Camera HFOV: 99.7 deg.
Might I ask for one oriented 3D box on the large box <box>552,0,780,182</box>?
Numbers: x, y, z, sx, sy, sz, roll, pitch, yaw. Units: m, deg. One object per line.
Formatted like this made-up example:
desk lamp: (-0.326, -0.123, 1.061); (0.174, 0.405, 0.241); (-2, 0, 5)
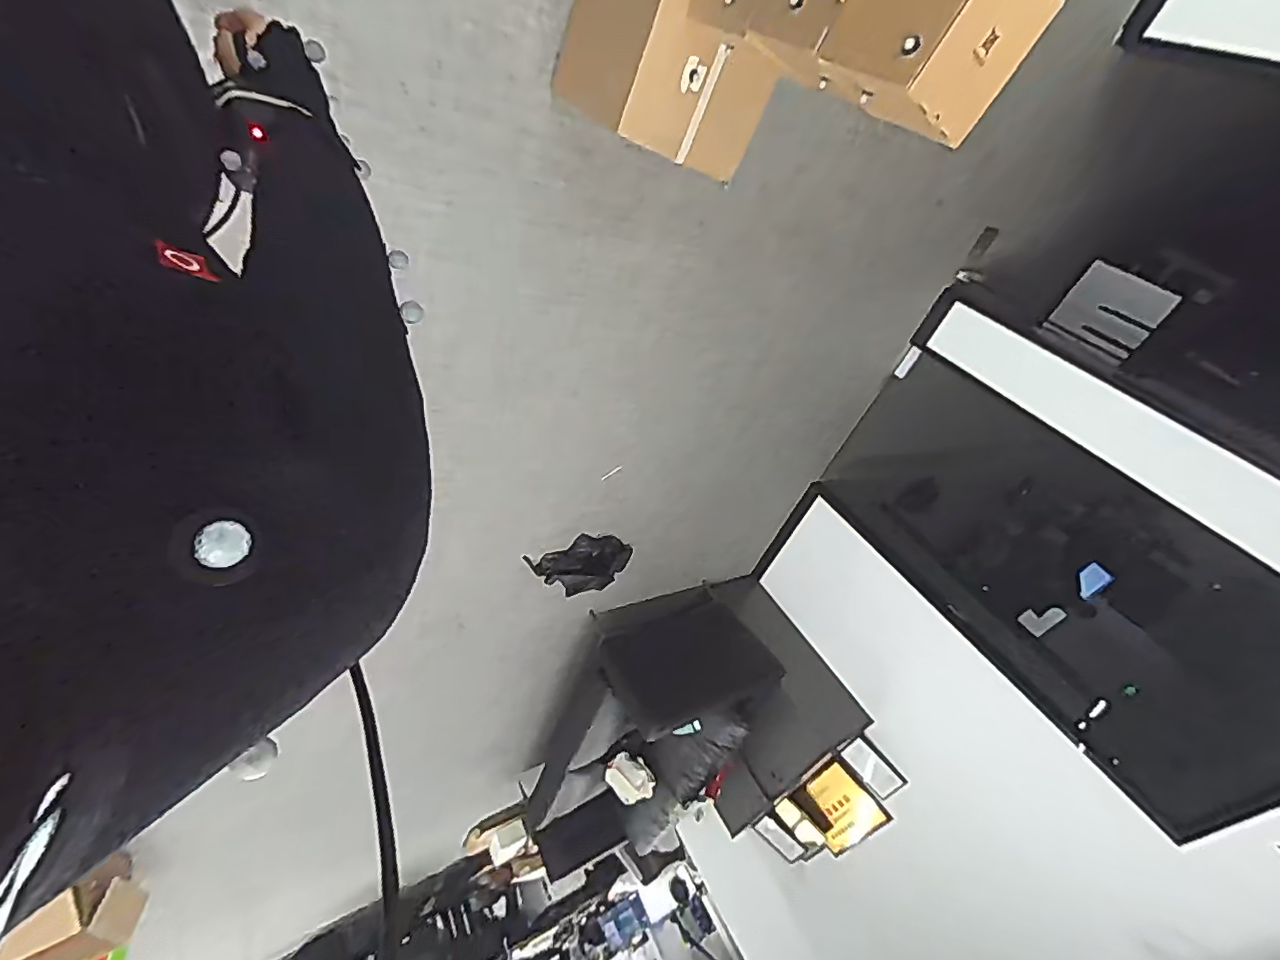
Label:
large box: (0.072, -0.891, 1.066); (0.320, 0.320, 0.408); (-3, 134, -38)

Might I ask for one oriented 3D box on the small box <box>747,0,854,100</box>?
small box: (0.289, -0.683, 0.779); (0.179, 0.176, 0.168); (-2, 135, -42)

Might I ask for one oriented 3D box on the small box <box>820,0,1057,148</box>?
small box: (0.370, -0.574, 0.689); (0.168, 0.176, 0.179); (0, 134, -42)
